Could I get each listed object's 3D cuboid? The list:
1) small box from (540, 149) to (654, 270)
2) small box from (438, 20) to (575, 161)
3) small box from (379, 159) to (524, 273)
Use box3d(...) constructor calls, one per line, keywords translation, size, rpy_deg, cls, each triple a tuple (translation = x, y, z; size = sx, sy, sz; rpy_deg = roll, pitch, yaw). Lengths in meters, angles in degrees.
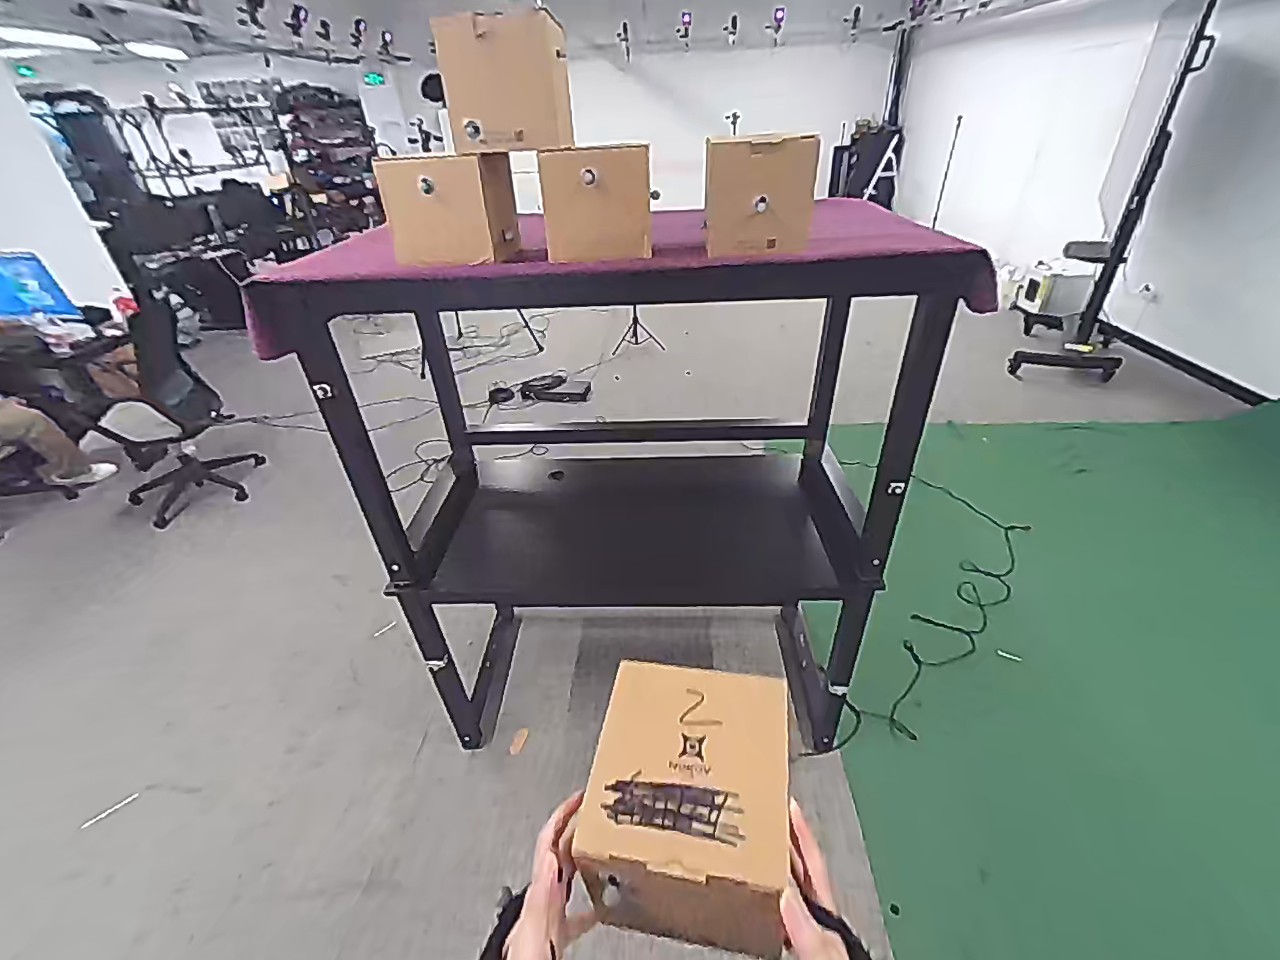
box3d(translation=(-0.065, -0.475, 0.949), size=(0.179, 0.176, 0.168), rpy_deg=(-2, 32, 3), cls="small box")
box3d(translation=(-0.202, -0.618, 0.878), size=(0.168, 0.176, 0.179), rpy_deg=(-1, 32, 2), cls="small box")
box3d(translation=(-0.322, -0.471, 0.962), size=(0.179, 0.176, 0.168), rpy_deg=(2, 33, 6), cls="small box")
